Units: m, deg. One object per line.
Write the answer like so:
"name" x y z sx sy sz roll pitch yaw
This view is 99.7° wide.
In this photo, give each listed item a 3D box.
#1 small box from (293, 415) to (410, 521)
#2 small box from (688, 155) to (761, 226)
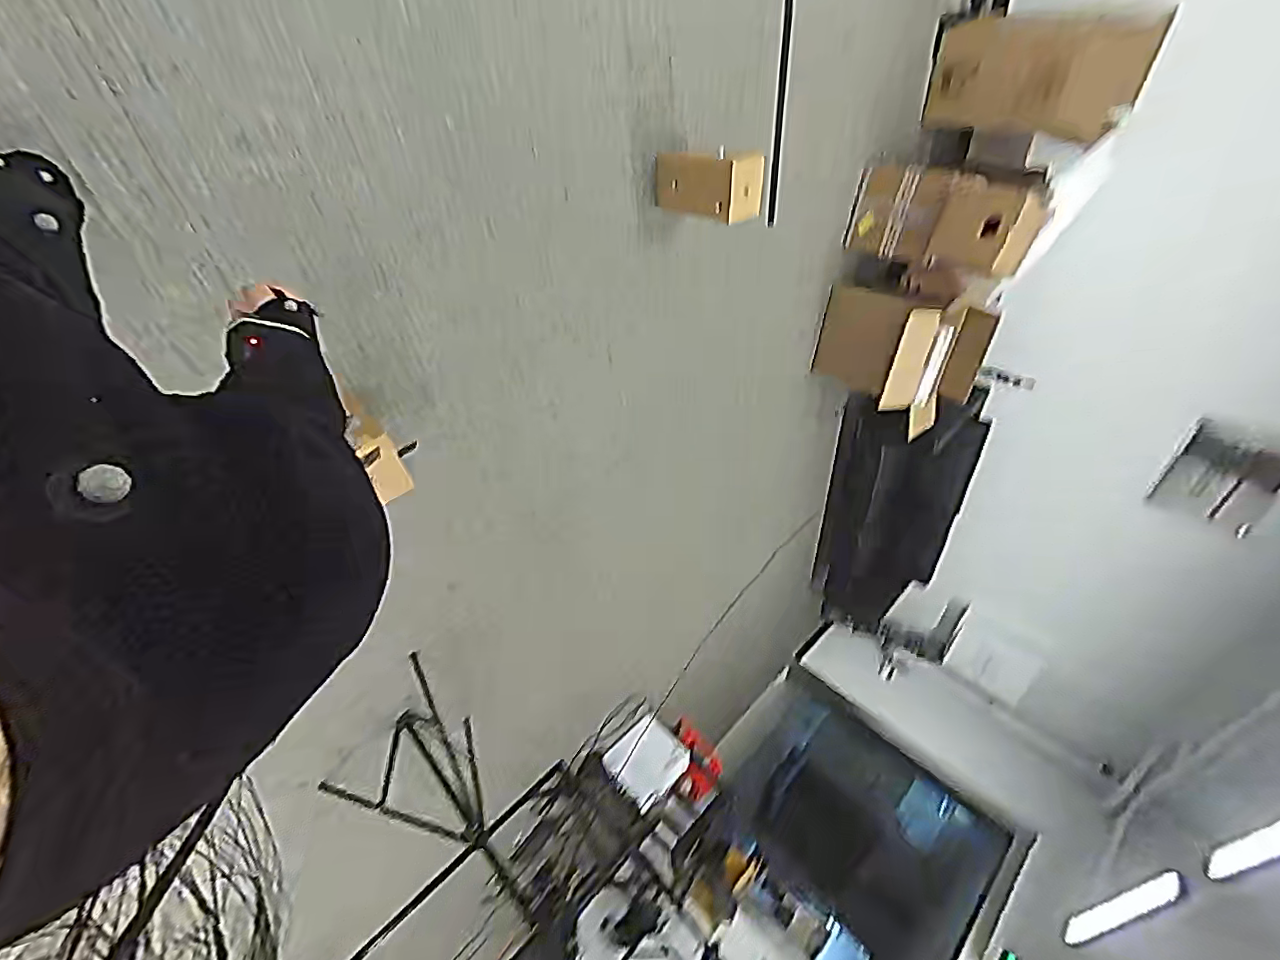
"small box" -0.701 -0.039 1.313 0.168 0.176 0.179 -36 140 -27
"small box" 0.274 -0.958 1.786 0.168 0.176 0.179 -32 137 -33
